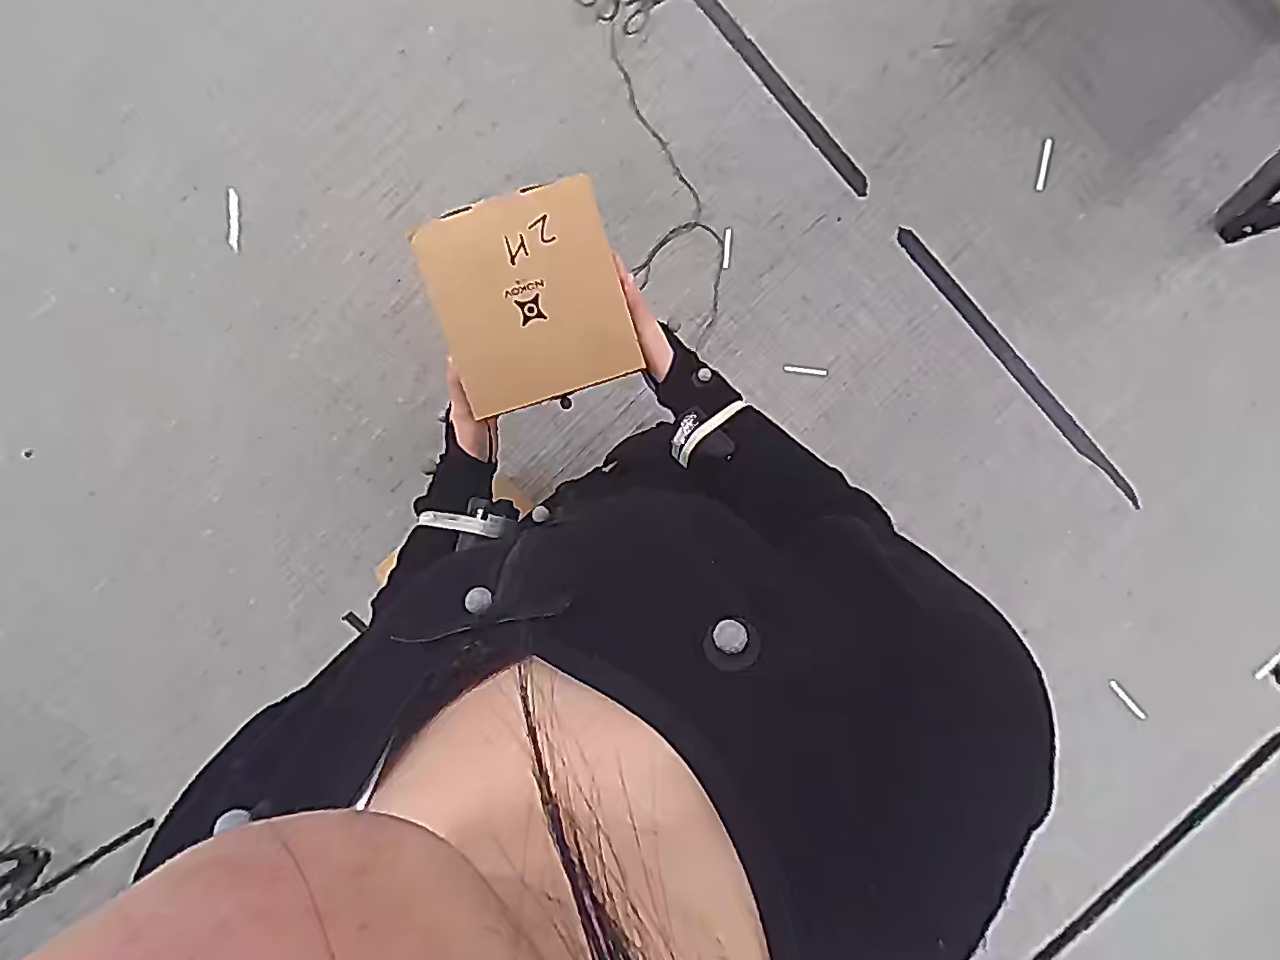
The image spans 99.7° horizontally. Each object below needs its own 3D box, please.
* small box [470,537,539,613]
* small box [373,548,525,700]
[{"bbox_3d":[-0.330,0.241,1.125,0.168,0.176,0.179,45,90,-4],"label":"small box"},{"bbox_3d":[-0.323,0.242,0.963,0.168,0.176,0.179,43,91,-3],"label":"small box"}]
